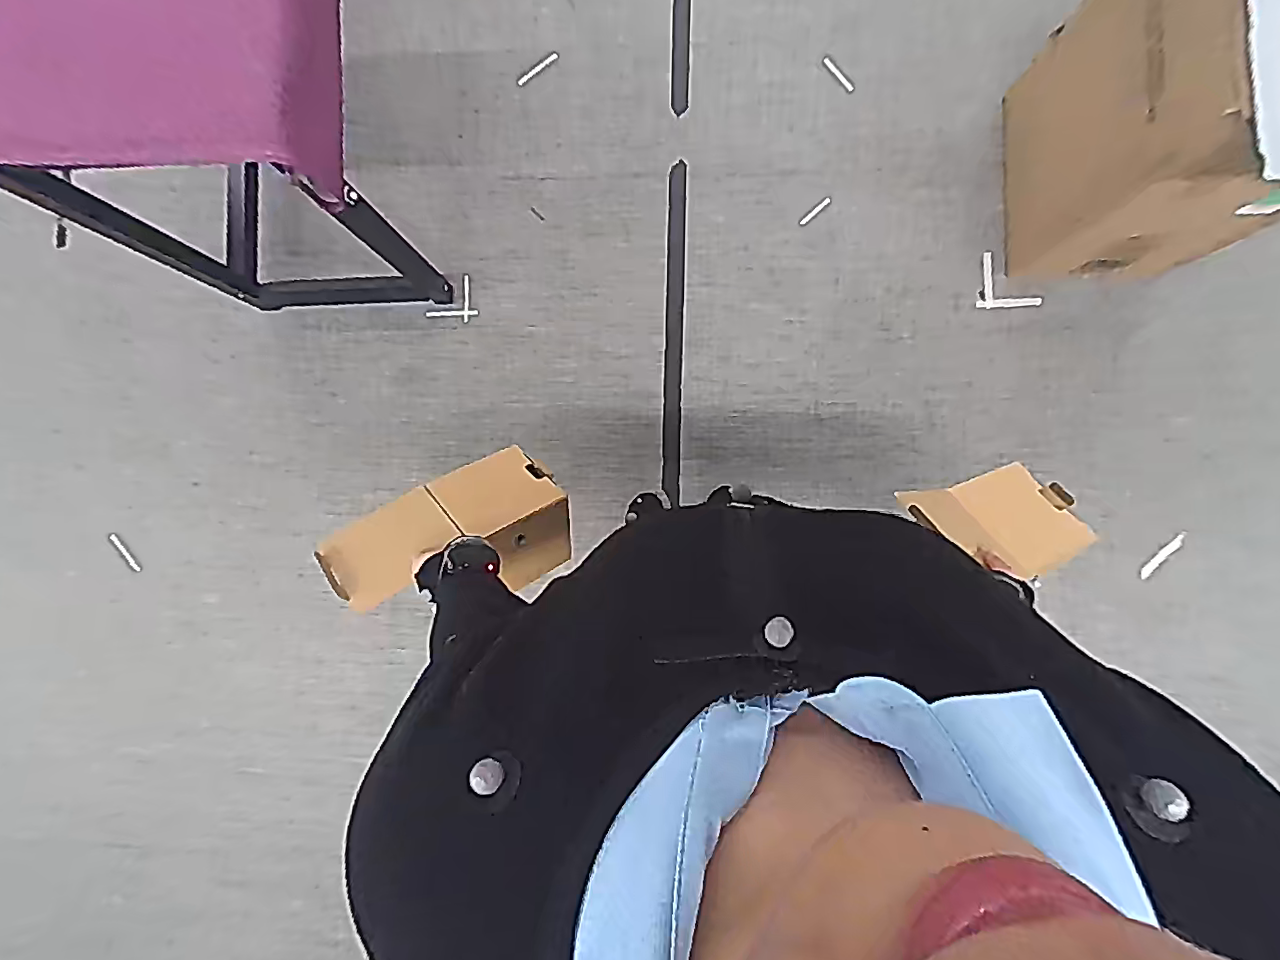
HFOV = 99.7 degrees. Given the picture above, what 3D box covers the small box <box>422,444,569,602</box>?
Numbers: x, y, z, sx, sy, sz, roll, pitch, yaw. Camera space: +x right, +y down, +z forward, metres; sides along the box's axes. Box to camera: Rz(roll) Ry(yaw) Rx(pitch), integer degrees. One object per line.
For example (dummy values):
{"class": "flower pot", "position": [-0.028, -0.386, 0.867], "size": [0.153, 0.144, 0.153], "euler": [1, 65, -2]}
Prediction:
{"class": "small box", "position": [-0.236, 0.074, 0.922], "size": [0.179, 0.176, 0.168], "euler": [-30, 52, -30]}
